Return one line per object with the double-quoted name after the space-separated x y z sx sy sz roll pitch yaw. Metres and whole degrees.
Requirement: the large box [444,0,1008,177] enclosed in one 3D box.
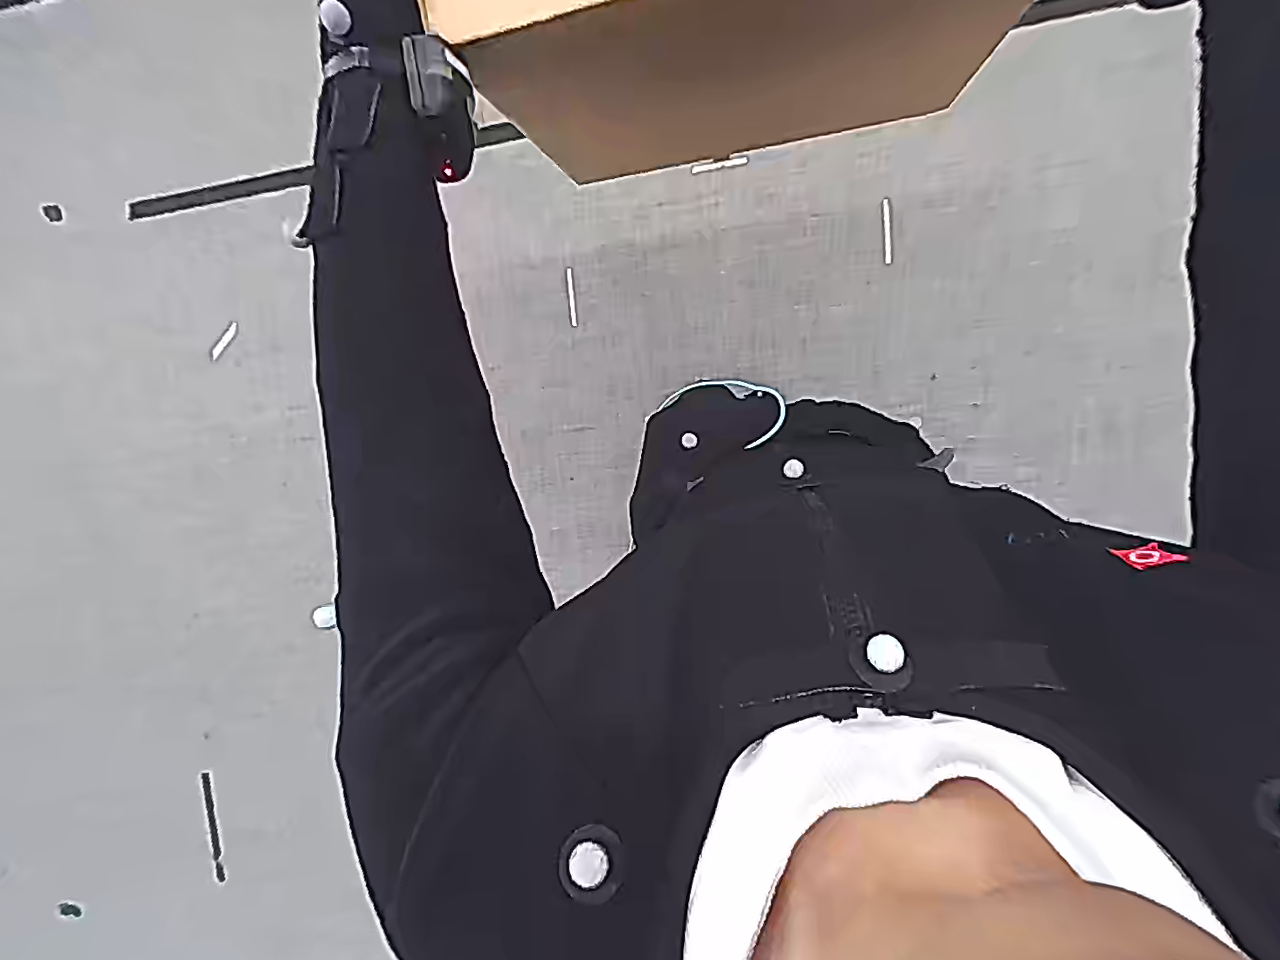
0.070 -0.490 0.429 0.408 0.320 0.320 -5 103 12 "large box"
